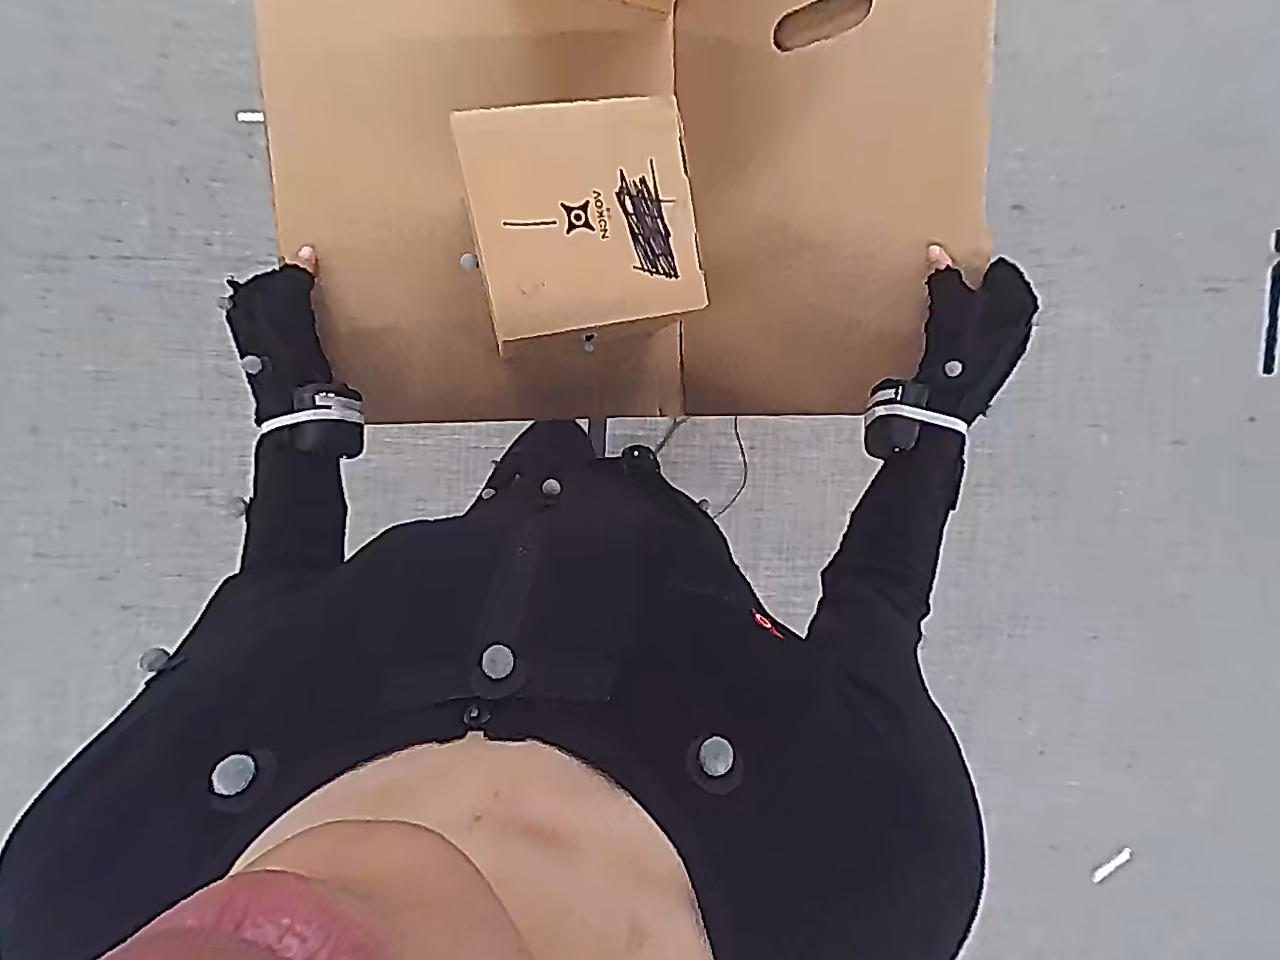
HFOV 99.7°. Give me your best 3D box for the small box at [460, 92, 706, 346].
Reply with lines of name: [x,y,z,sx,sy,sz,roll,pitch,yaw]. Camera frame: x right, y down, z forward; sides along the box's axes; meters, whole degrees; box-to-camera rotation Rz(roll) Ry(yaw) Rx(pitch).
small box: [-0.057,-0.227,0.507,0.179,0.176,0.168,-13,101,-11]
